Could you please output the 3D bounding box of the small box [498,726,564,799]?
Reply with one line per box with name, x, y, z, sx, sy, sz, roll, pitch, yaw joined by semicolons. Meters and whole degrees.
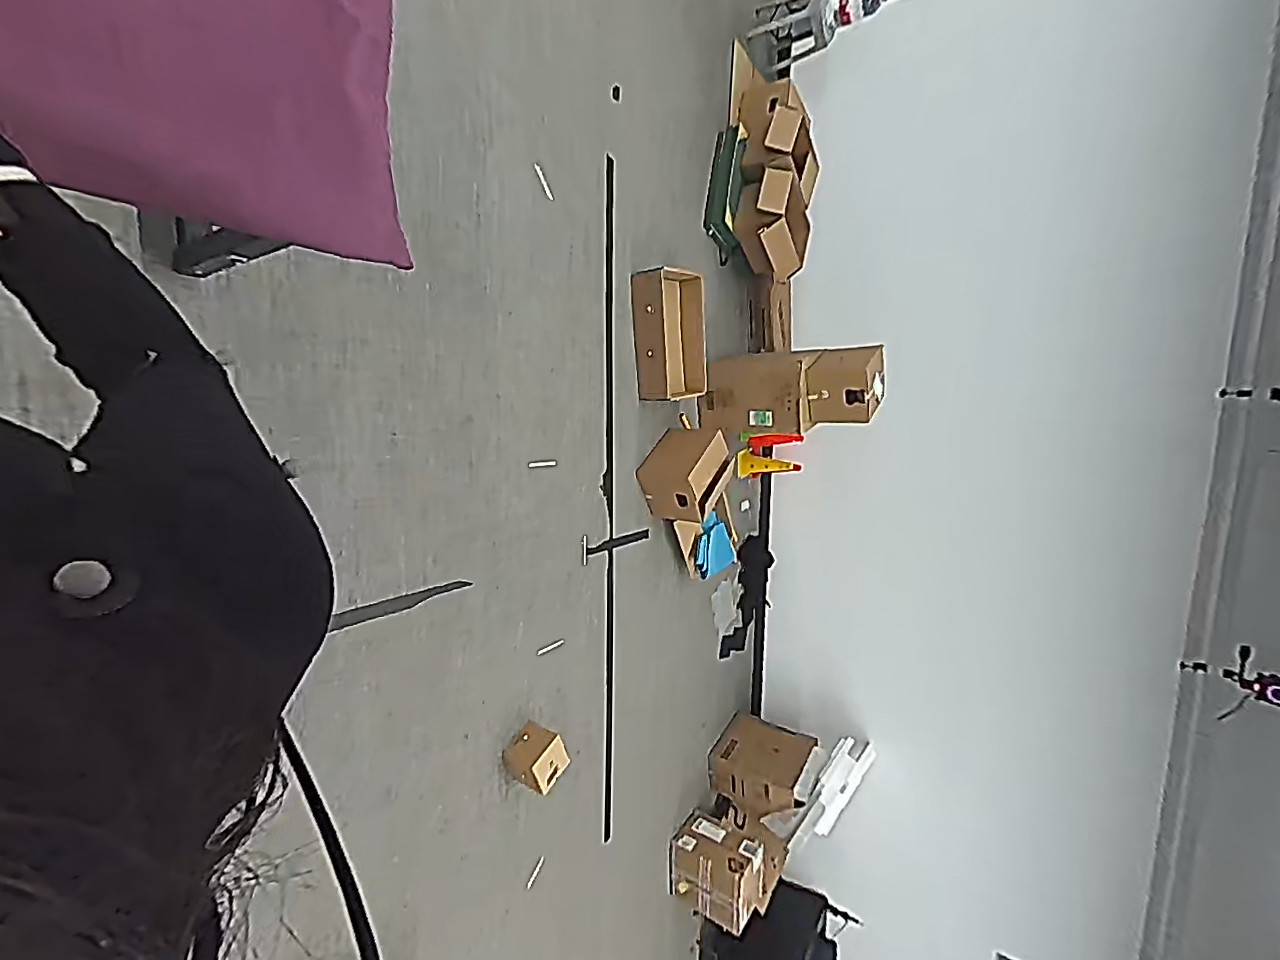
small box;-0.441;1.133;2.180;0.168;0.176;0.179;-41;127;-46
